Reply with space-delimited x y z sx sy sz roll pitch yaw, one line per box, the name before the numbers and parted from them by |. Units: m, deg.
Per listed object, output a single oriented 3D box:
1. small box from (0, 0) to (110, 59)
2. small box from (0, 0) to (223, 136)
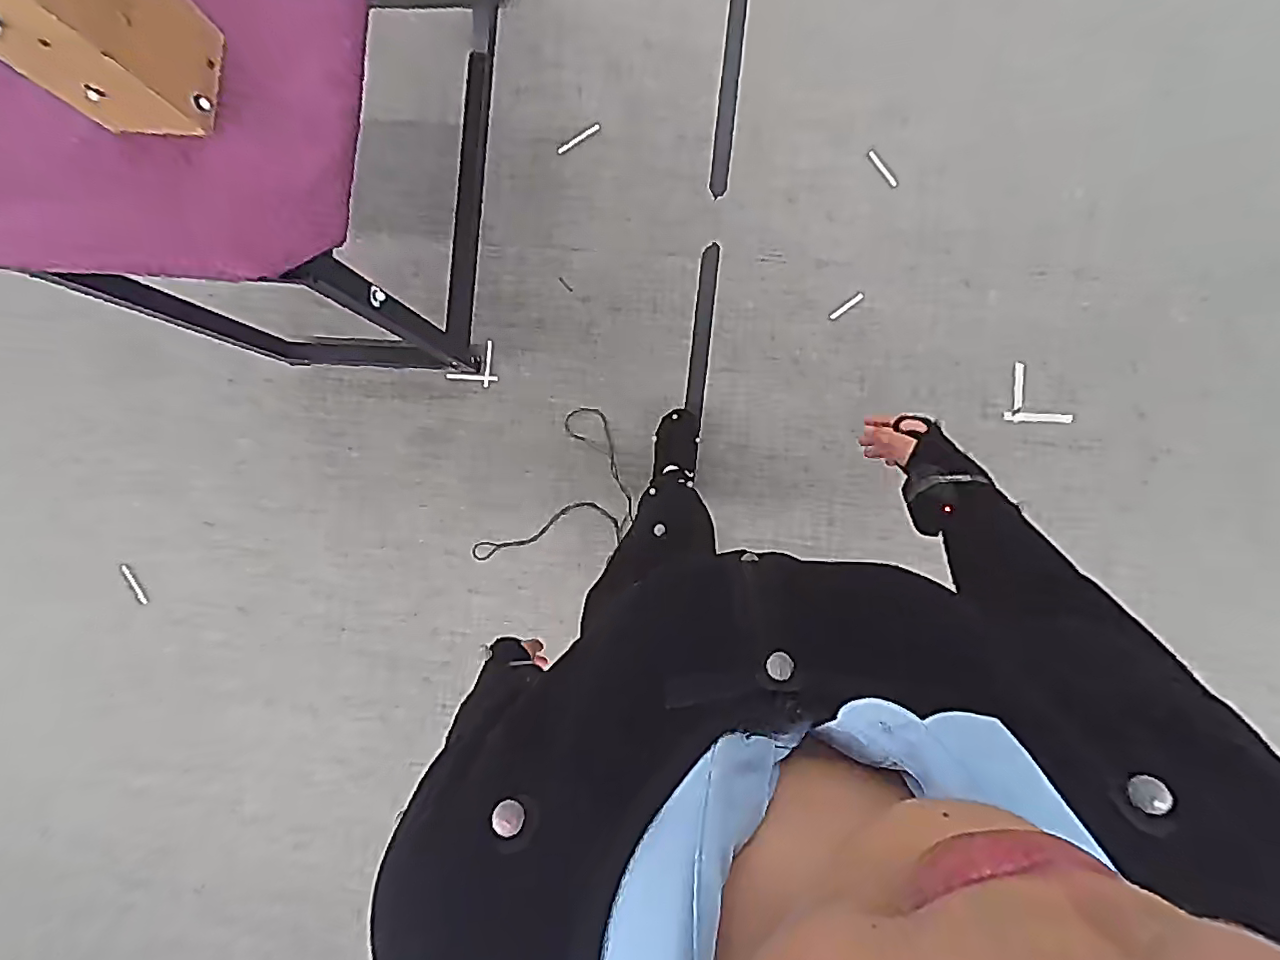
small box | -0.754 -0.631 0.613 0.168 0.176 0.179 5 88 4
small box | -0.751 -0.629 0.778 0.179 0.176 0.168 5 88 5
